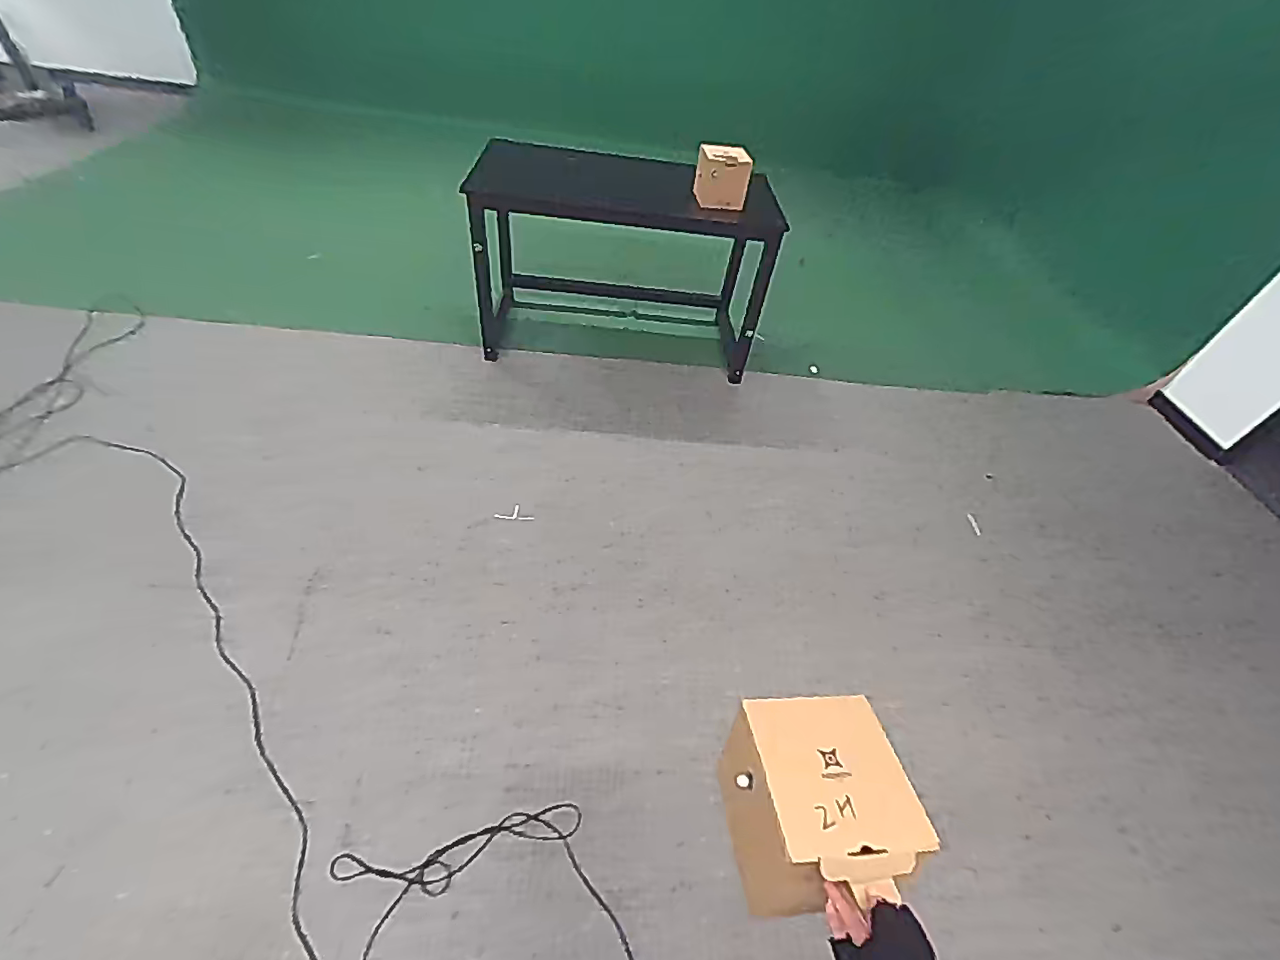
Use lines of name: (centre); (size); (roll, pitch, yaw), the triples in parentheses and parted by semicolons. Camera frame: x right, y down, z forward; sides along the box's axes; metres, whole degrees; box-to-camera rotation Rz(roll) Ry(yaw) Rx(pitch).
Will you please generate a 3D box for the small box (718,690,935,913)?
small box: (0.203, 0.381, 0.653); (0.168, 0.176, 0.179); (1, 36, -10)
